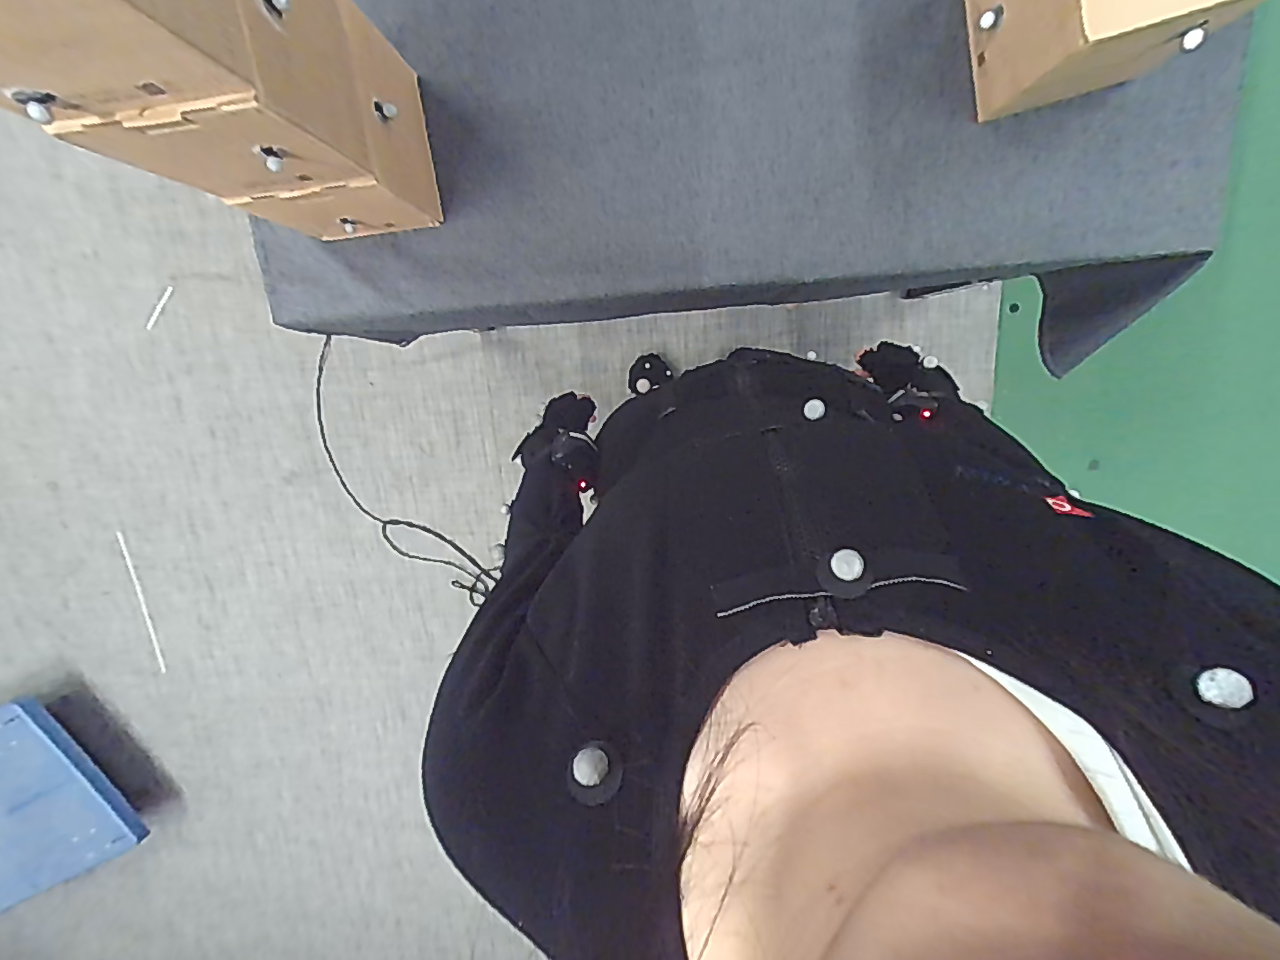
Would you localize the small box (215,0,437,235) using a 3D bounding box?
[{"bbox_3d":[-0.348,-0.391,0.599,0.168,0.176,0.179,-6,103,4],"label":"small box"}]

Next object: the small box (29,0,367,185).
[{"bbox_3d":[-0.352,-0.358,0.440,0.168,0.176,0.179,-5,103,3],"label":"small box"}]

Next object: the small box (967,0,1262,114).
[{"bbox_3d":[0.458,-0.501,0.530,0.179,0.176,0.168,-13,102,6],"label":"small box"}]

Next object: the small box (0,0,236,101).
[{"bbox_3d":[-0.360,-0.328,0.279,0.168,0.176,0.179,-7,102,3],"label":"small box"}]
